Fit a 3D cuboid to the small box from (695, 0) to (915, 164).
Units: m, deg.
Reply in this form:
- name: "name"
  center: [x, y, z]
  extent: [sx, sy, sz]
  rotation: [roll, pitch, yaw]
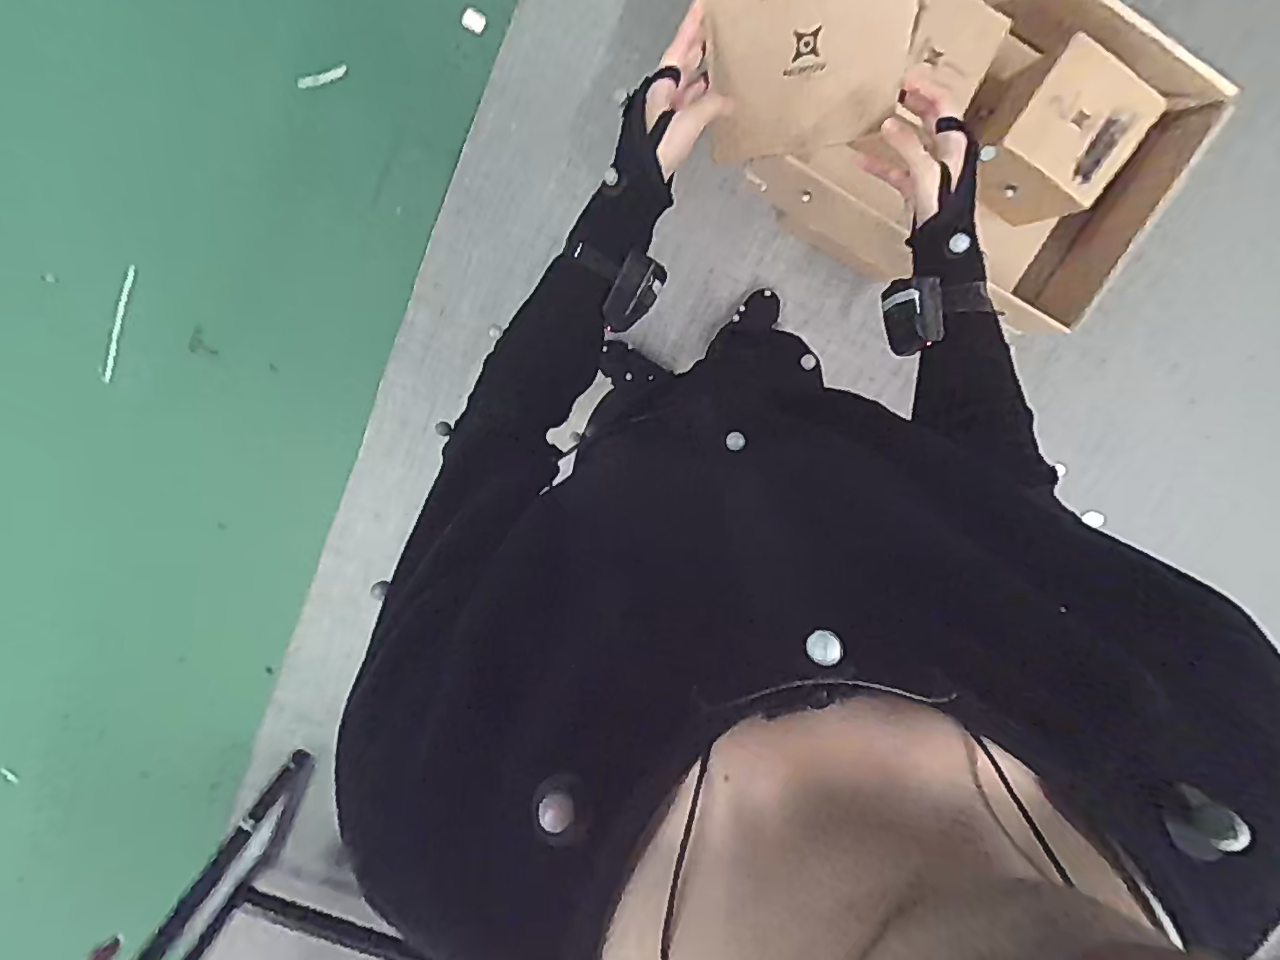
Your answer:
- name: "small box"
  center: [0.134, -0.423, 0.474]
  extent: [0.168, 0.179, 0.176]
  rotation: [-4, 63, 10]
